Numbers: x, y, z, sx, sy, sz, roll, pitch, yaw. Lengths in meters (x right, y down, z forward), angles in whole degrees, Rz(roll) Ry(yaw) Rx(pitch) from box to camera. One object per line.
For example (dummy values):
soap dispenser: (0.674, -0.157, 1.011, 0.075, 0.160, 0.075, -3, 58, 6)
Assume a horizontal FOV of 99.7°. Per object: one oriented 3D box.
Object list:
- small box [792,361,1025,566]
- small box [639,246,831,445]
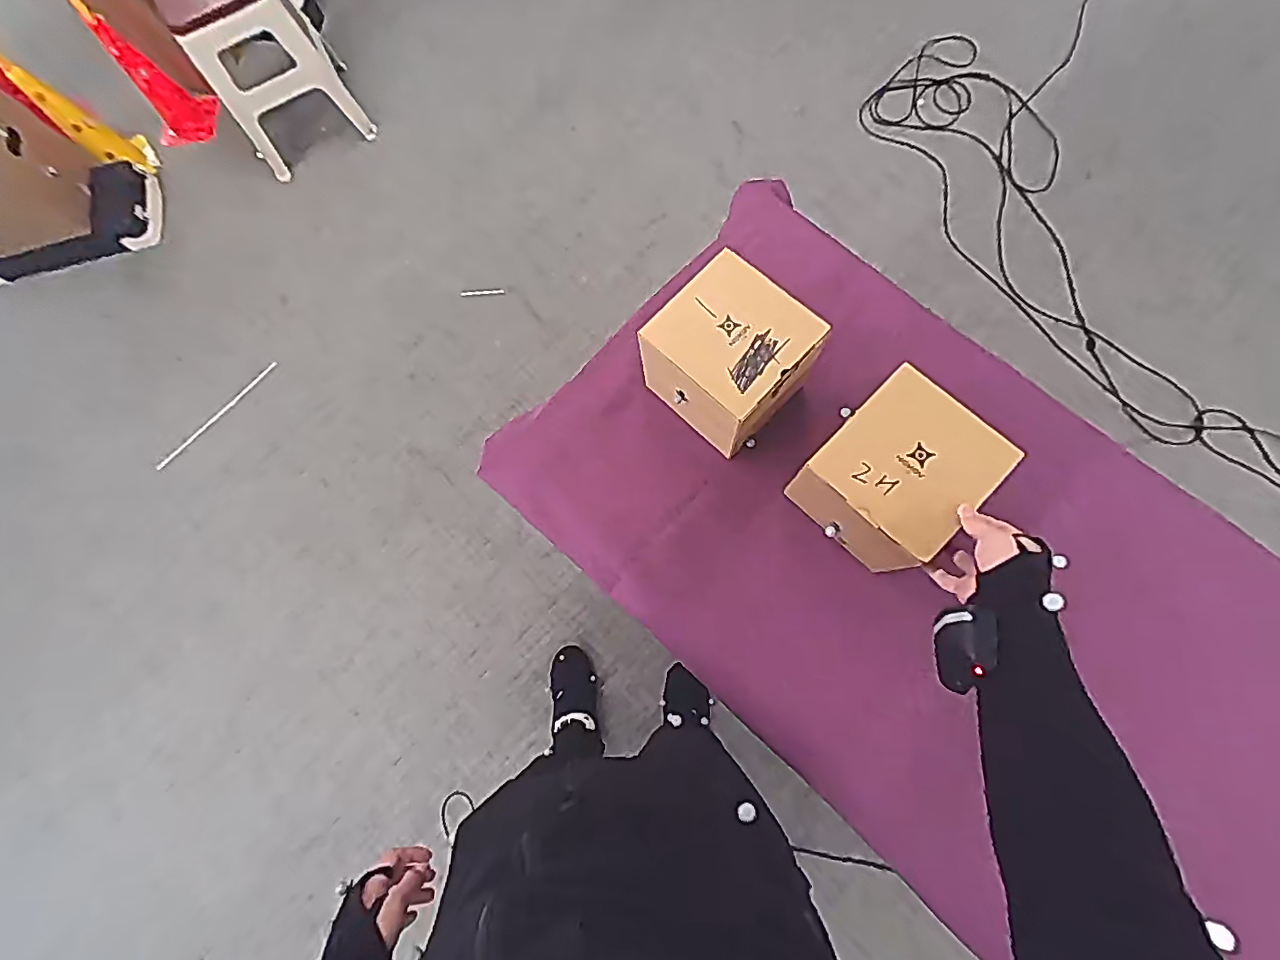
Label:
small box: (0.317, -0.010, 0.683, 0.179, 0.176, 0.168, -45, 77, -4)
small box: (0.122, -0.167, 0.736, 0.179, 0.176, 0.168, 43, 84, 13)
